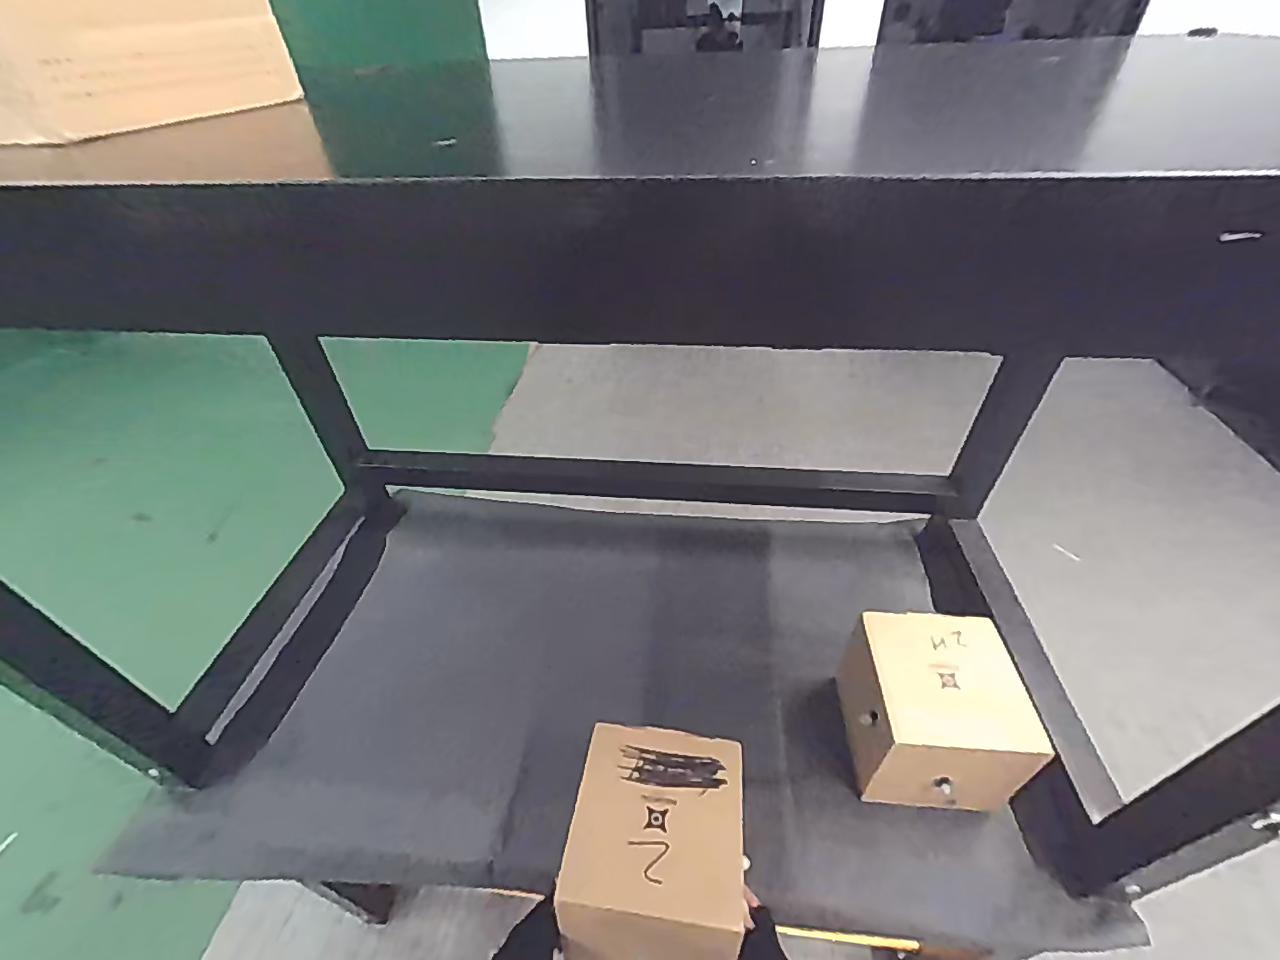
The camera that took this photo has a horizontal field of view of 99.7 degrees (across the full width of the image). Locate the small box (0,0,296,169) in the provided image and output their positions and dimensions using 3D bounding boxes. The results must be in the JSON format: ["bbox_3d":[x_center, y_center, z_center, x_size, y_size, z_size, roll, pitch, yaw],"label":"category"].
[{"bbox_3d":[-0.324,-0.267,0.273,0.168,0.176,0.179,6,41,9],"label":"small box"}]

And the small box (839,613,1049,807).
[{"bbox_3d":[0.369,0.296,0.698,0.168,0.176,0.179,2,40,5],"label":"small box"}]
